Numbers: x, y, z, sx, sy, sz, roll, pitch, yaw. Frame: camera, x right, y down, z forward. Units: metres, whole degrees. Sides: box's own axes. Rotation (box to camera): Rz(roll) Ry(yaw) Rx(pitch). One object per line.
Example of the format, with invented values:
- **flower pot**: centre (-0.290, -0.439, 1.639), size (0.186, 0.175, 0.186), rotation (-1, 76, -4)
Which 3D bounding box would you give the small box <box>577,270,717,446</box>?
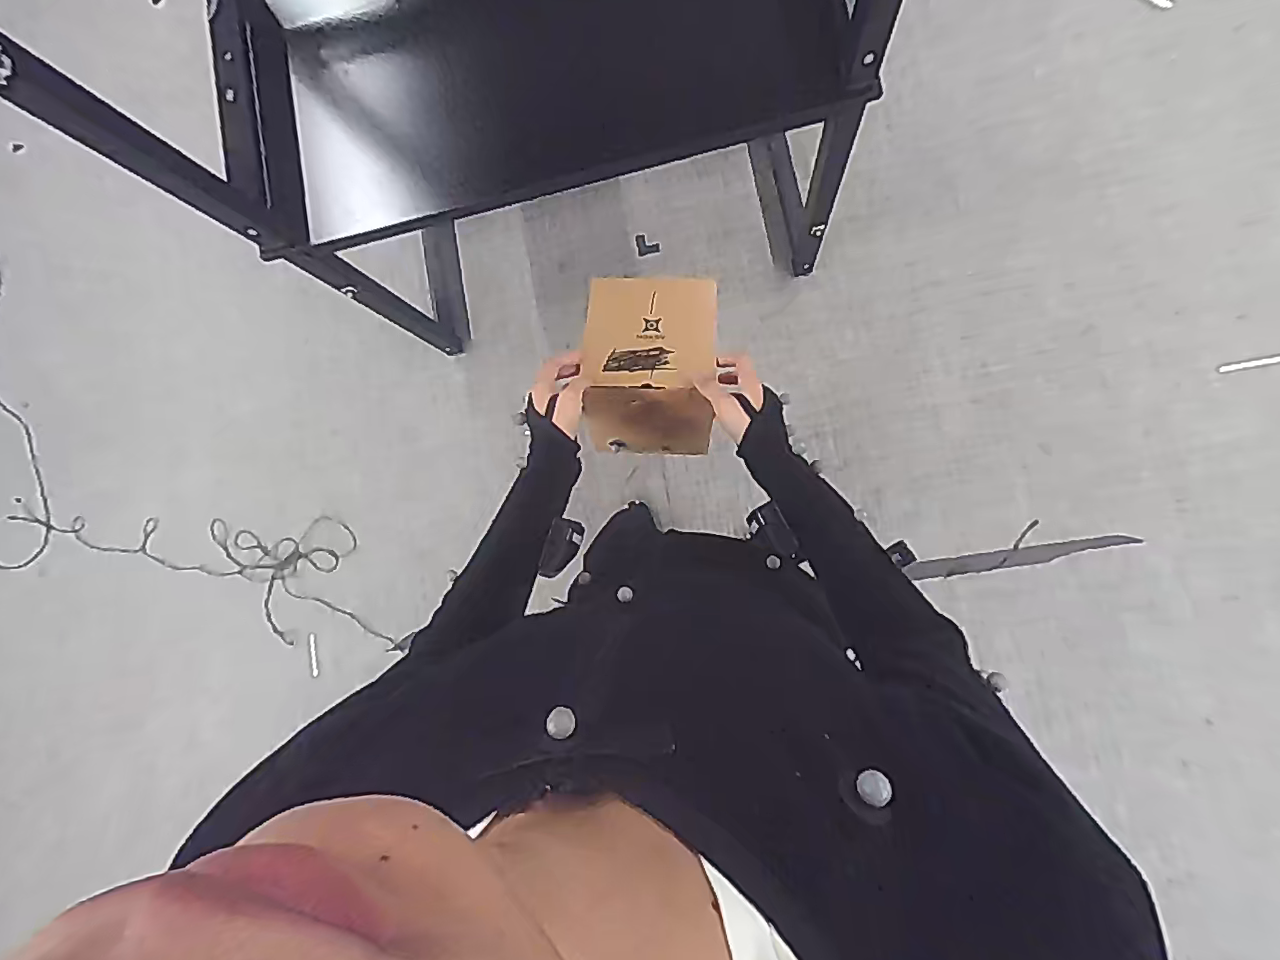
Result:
- **small box**: centre (0.017, -0.159, 0.737), size (0.168, 0.176, 0.179), rotation (3, 65, 4)
